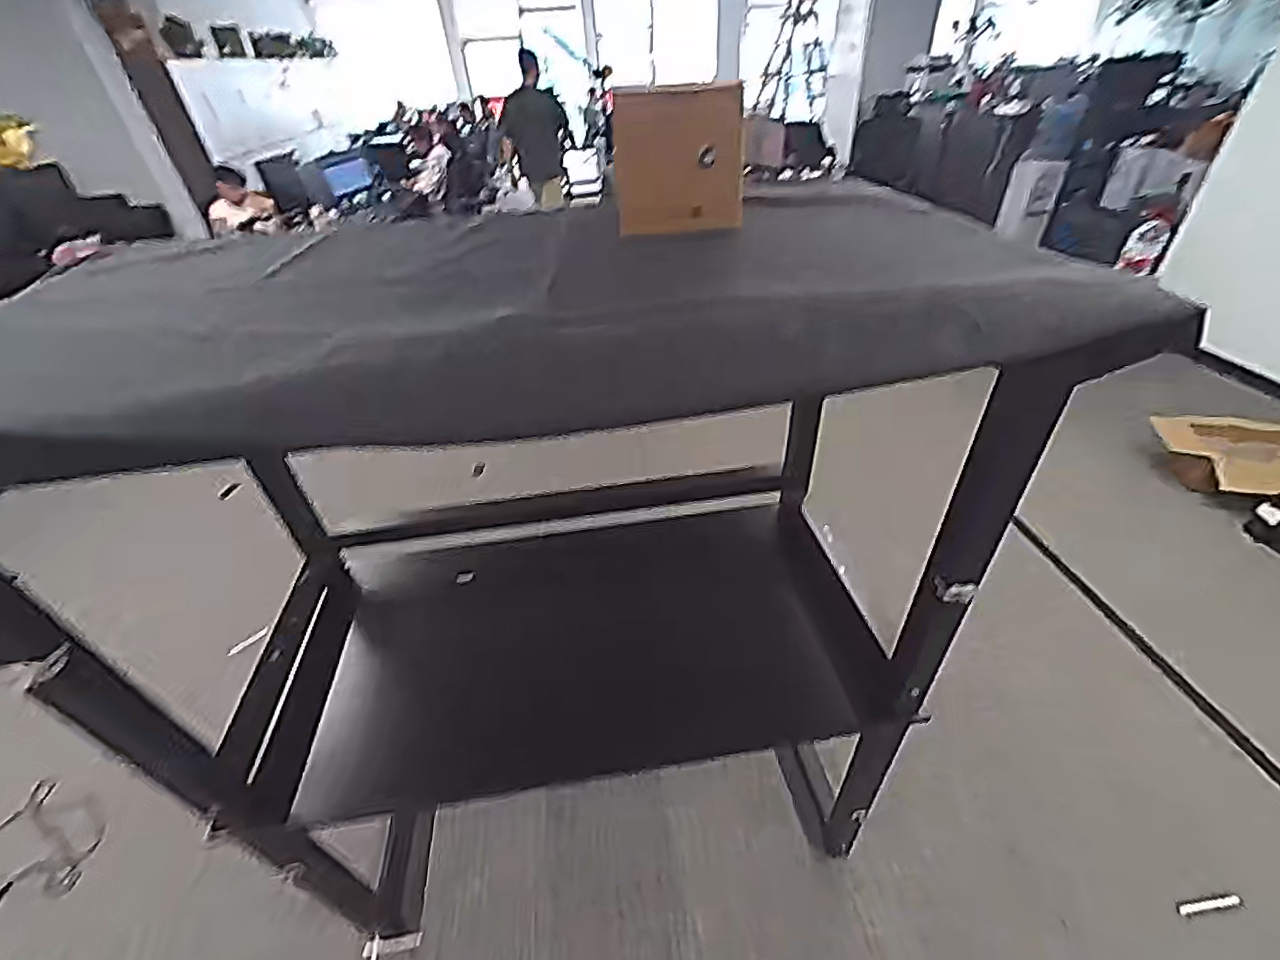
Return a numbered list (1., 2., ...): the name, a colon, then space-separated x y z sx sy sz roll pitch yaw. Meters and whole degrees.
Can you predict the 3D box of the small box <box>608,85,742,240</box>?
1. small box: 0.044 -0.444 0.761 0.168 0.176 0.179 -4 37 -1
